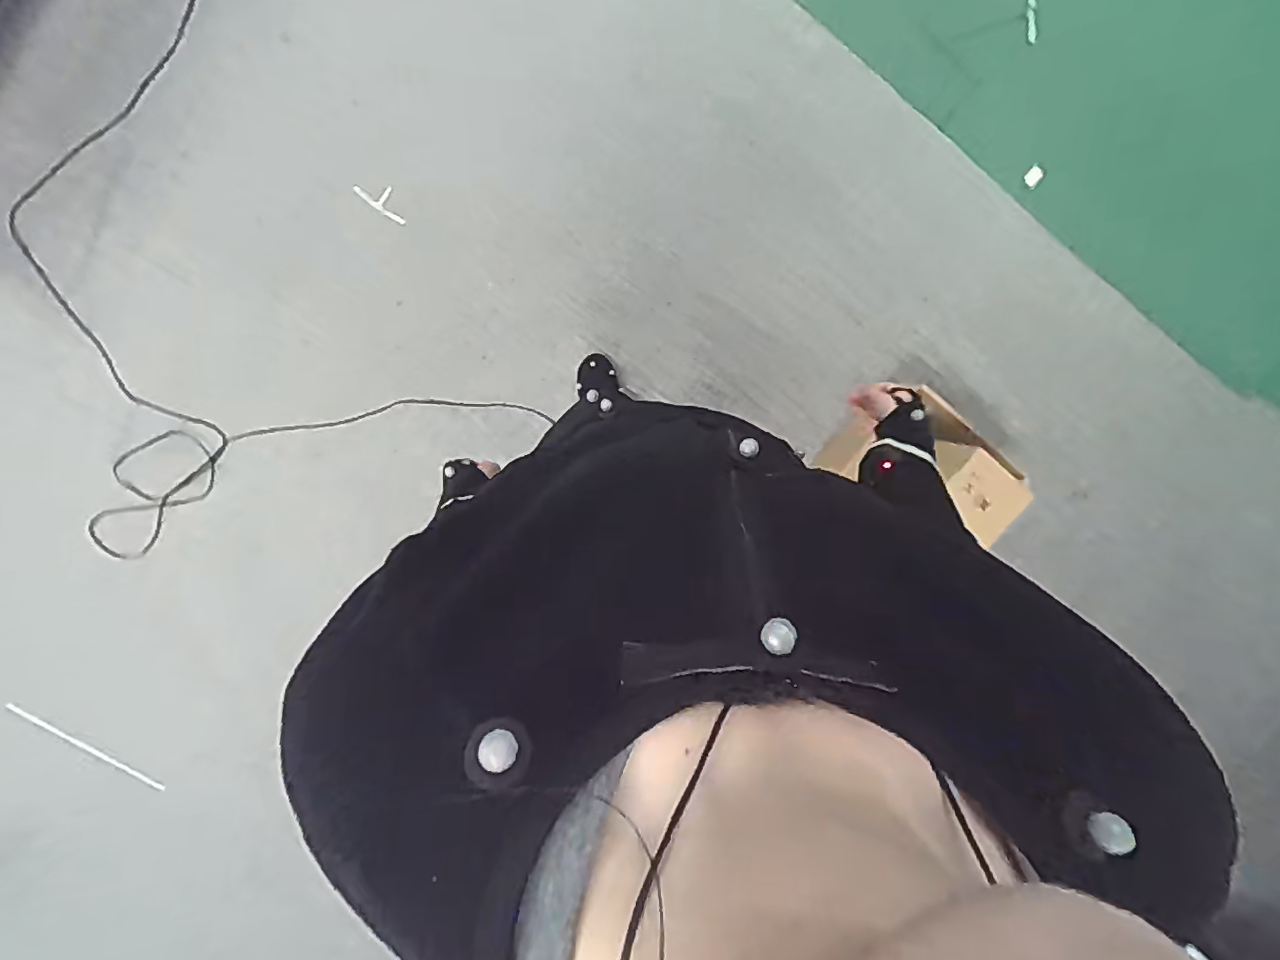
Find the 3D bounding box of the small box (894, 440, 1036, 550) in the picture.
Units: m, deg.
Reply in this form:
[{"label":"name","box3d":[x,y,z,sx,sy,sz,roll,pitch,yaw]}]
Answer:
[{"label":"small box","box3d":[0.724,0.024,1.222,0.179,0.176,0.168,40,96,-7]}]
